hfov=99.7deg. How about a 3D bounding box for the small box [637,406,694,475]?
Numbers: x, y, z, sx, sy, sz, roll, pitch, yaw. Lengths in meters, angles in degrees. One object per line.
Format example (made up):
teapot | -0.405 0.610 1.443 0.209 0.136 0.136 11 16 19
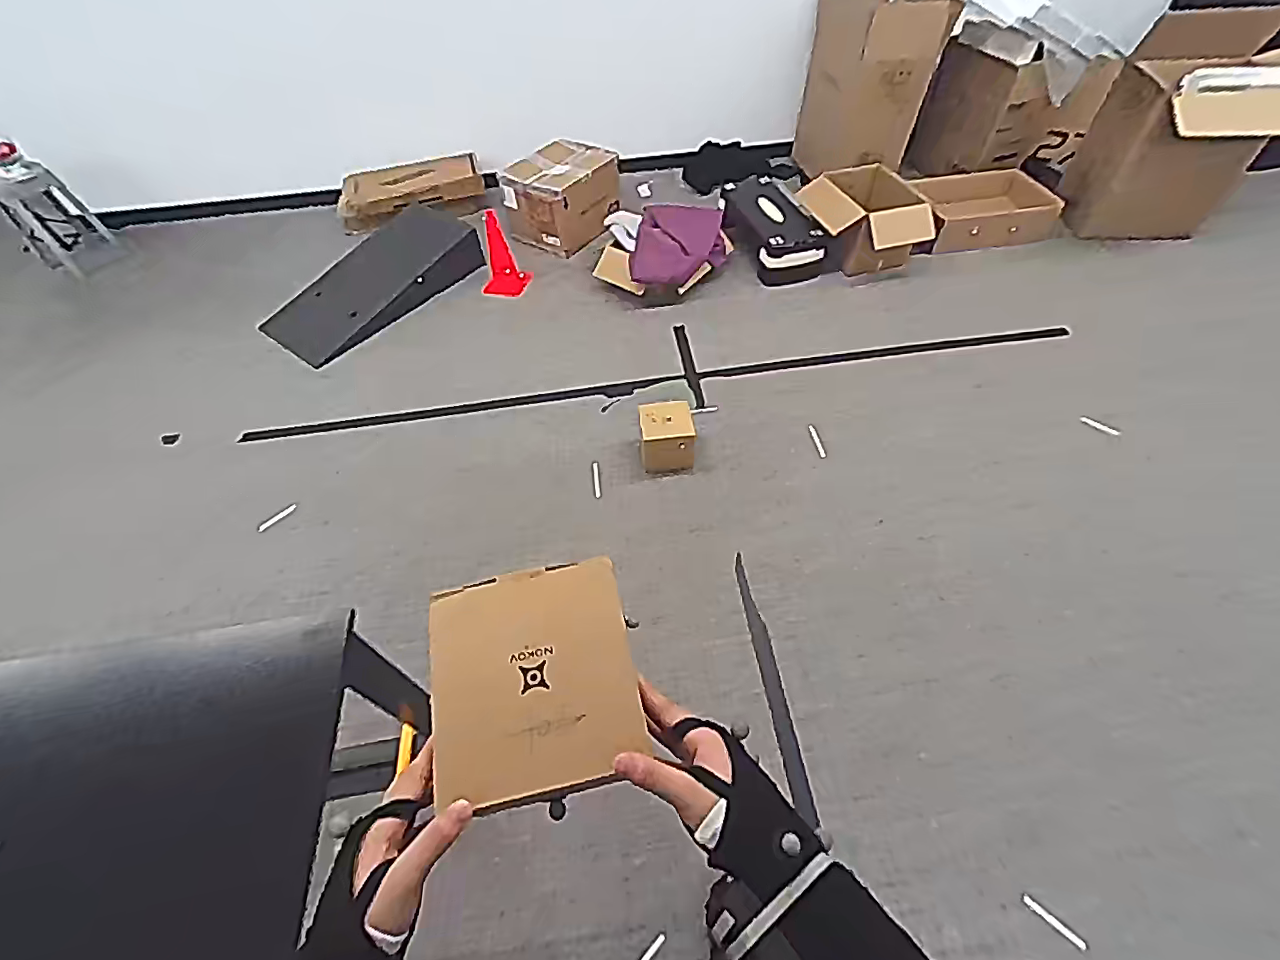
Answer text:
small box | 0.086 -0.135 1.880 0.179 0.176 0.168 -7 52 -2

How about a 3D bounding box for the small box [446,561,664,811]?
small box | -0.078 0.202 0.520 0.168 0.176 0.179 -11 60 -5
